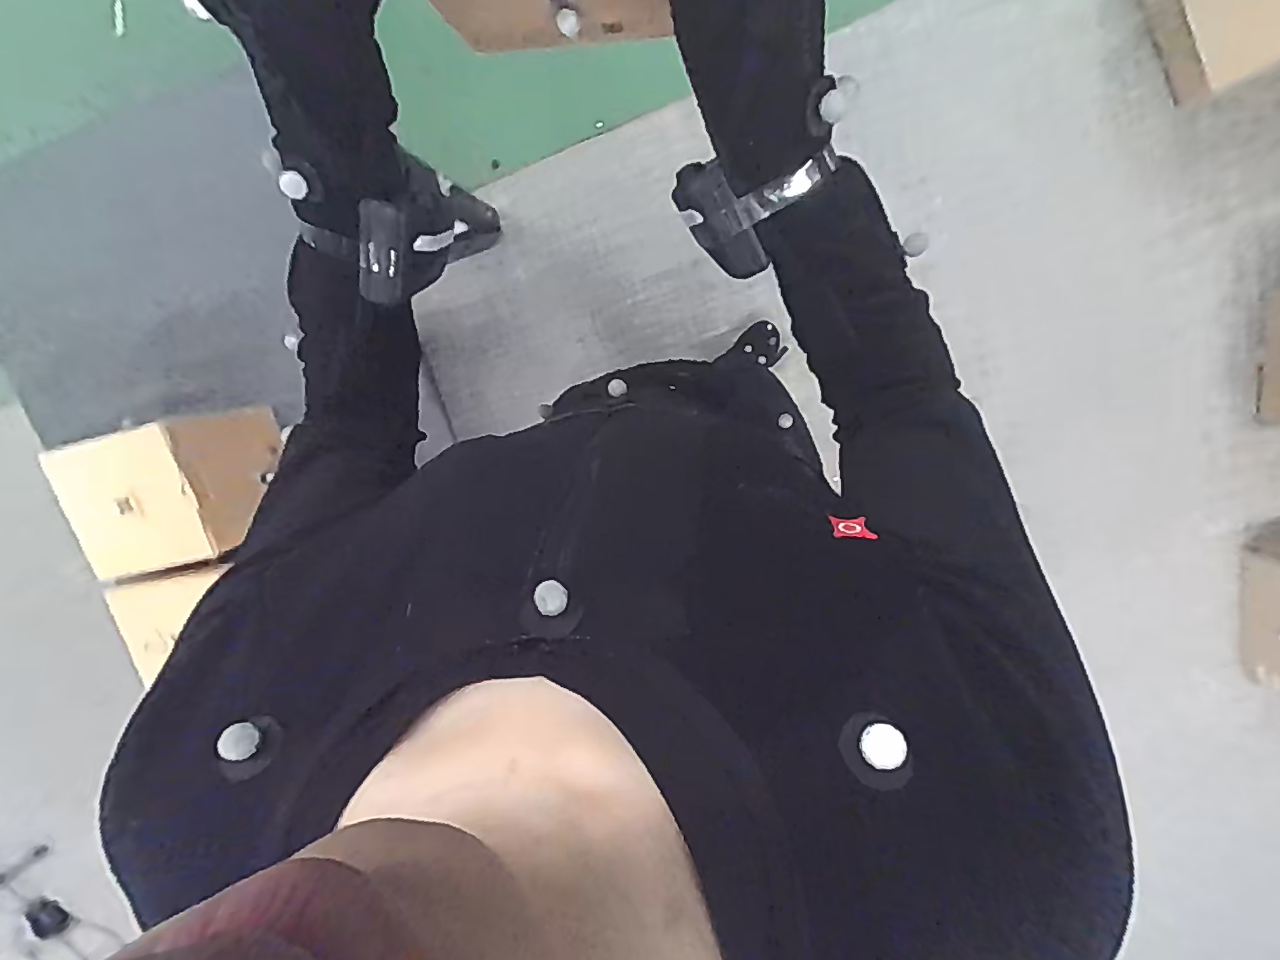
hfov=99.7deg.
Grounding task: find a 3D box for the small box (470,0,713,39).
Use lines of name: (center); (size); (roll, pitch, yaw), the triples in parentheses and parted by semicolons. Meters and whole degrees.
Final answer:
small box: (-0.040, -0.366, 0.270); (0.168, 0.176, 0.179); (2, 108, 6)
